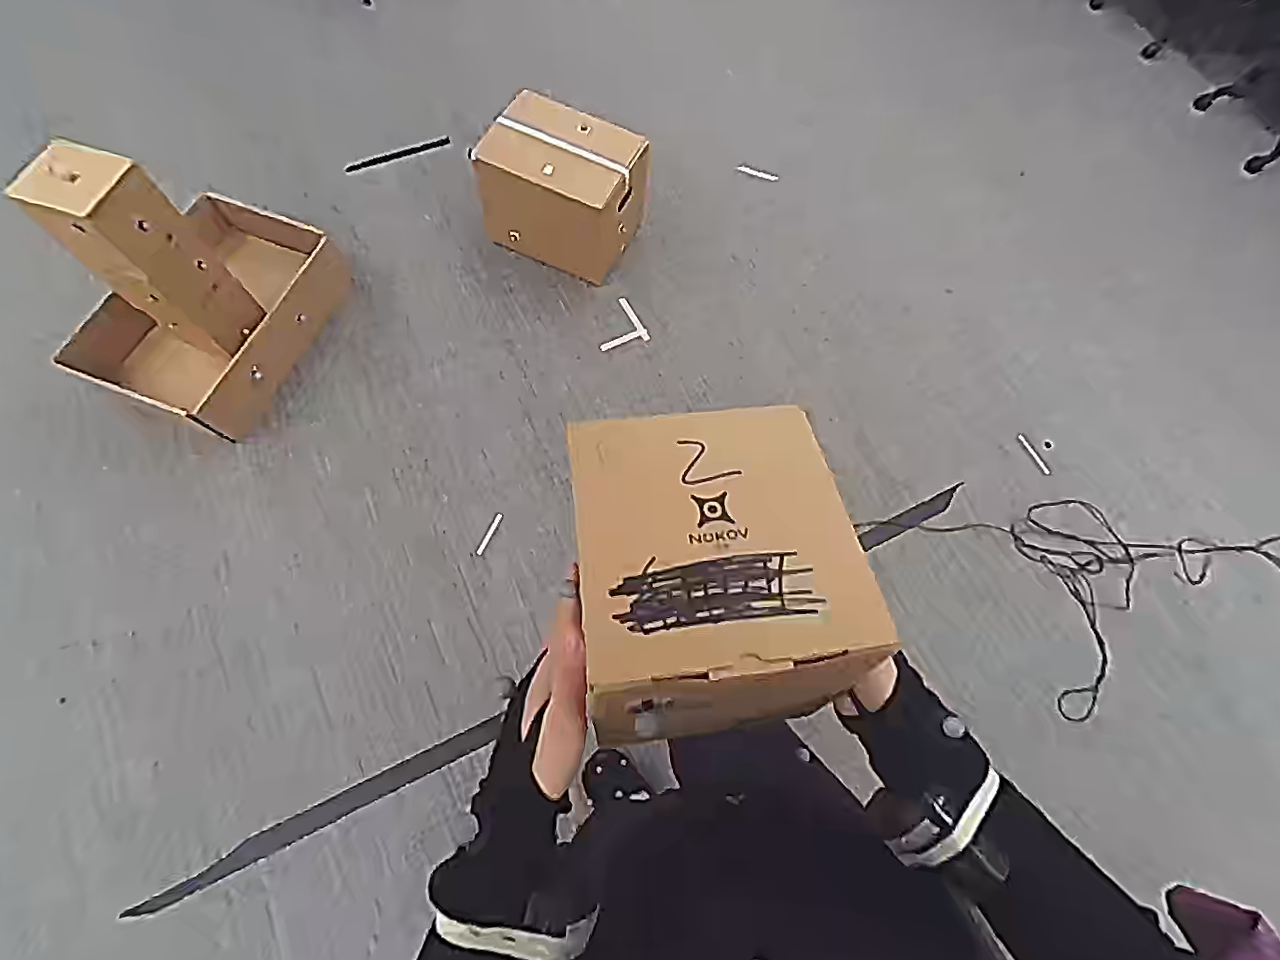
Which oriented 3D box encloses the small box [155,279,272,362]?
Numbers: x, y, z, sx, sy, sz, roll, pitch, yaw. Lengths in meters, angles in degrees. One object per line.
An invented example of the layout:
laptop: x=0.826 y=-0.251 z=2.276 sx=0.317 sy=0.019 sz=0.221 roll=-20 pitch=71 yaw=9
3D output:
small box: x=-1.157 y=-0.445 z=1.458 sx=0.179 sy=0.176 sz=0.168 roll=20 pitch=69 yaw=3

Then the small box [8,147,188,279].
small box: x=-1.134 y=-0.560 z=1.153 sx=0.179 sy=0.176 sz=0.168 roll=16 pitch=67 yaw=1

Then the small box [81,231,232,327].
small box: x=-1.149 y=-0.497 z=1.305 sx=0.179 sy=0.176 sz=0.168 roll=15 pitch=68 yaw=3
